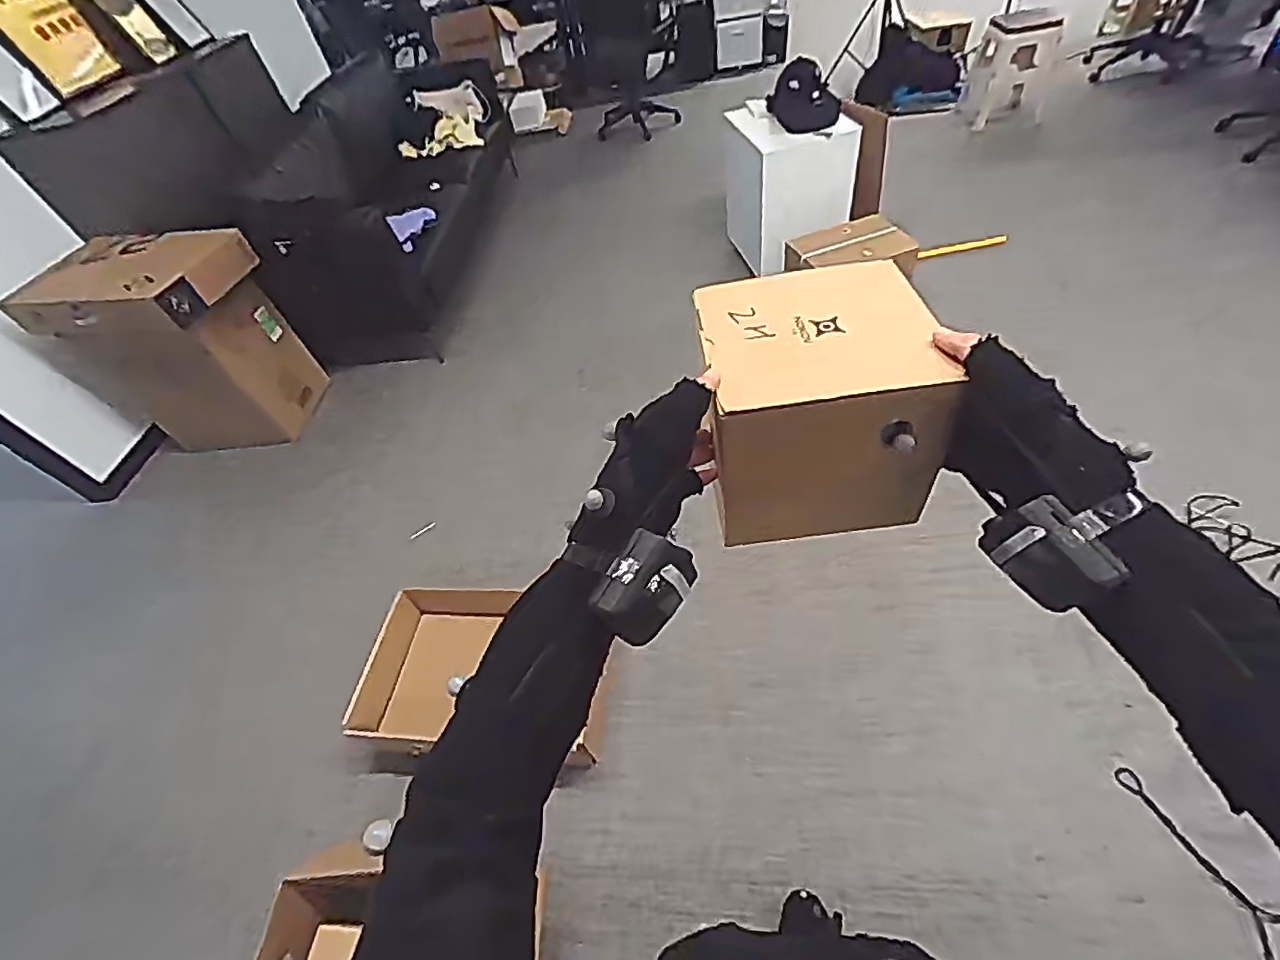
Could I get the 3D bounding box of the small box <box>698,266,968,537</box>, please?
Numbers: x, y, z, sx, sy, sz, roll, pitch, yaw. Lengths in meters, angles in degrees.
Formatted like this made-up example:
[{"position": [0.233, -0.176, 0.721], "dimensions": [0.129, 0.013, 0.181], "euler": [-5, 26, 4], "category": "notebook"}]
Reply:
[{"position": [0.151, -0.066, 0.494], "dimensions": [0.179, 0.176, 0.168], "euler": [-8, 48, 4], "category": "small box"}]
